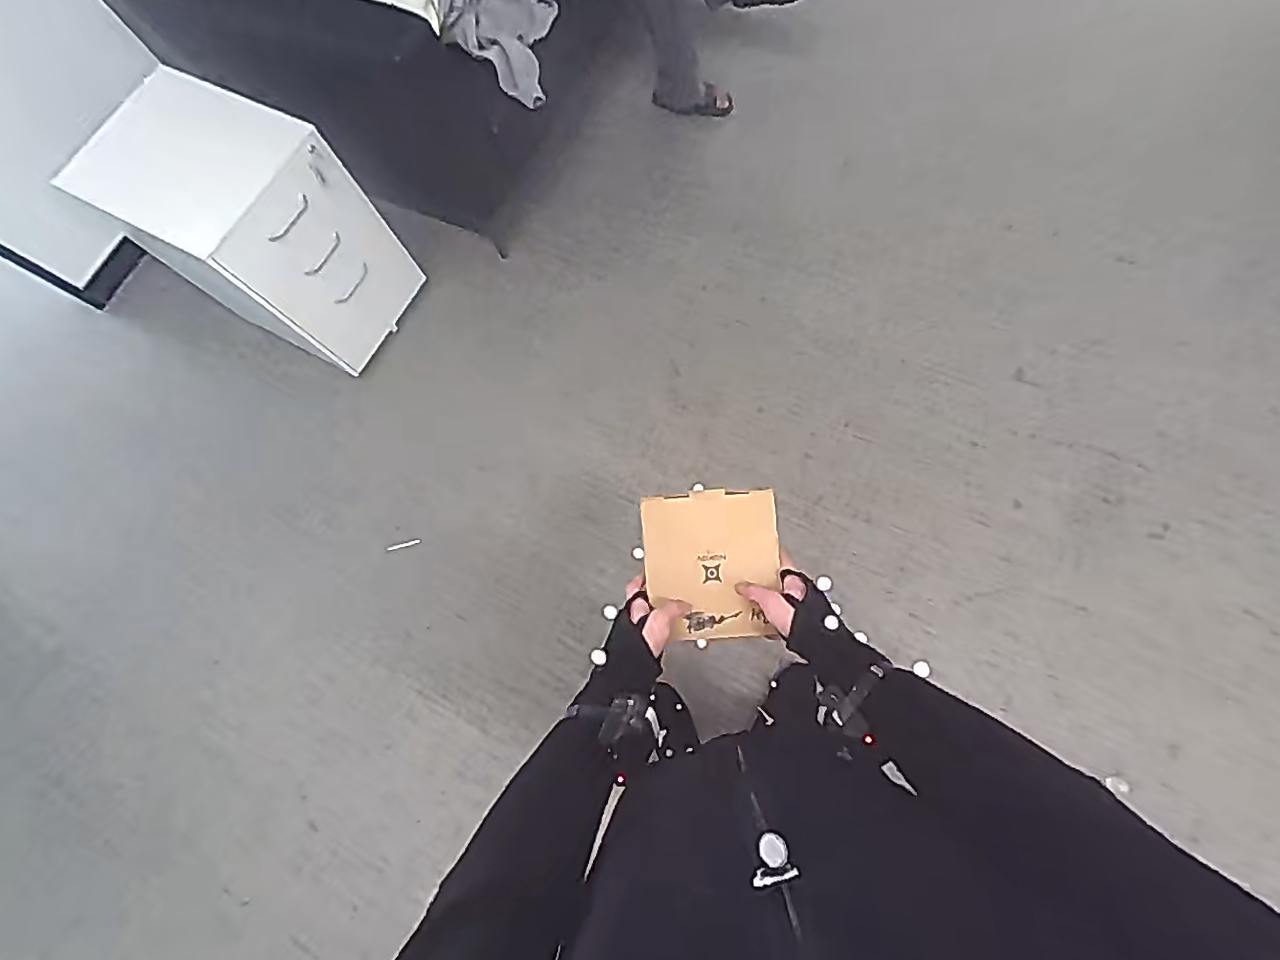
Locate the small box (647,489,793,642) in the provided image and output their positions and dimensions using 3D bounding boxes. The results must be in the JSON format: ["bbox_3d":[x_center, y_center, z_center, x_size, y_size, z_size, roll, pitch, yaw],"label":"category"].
[{"bbox_3d":[0.097,0.113,0.735,0.168,0.176,0.179,-5,83,1],"label":"small box"}]
